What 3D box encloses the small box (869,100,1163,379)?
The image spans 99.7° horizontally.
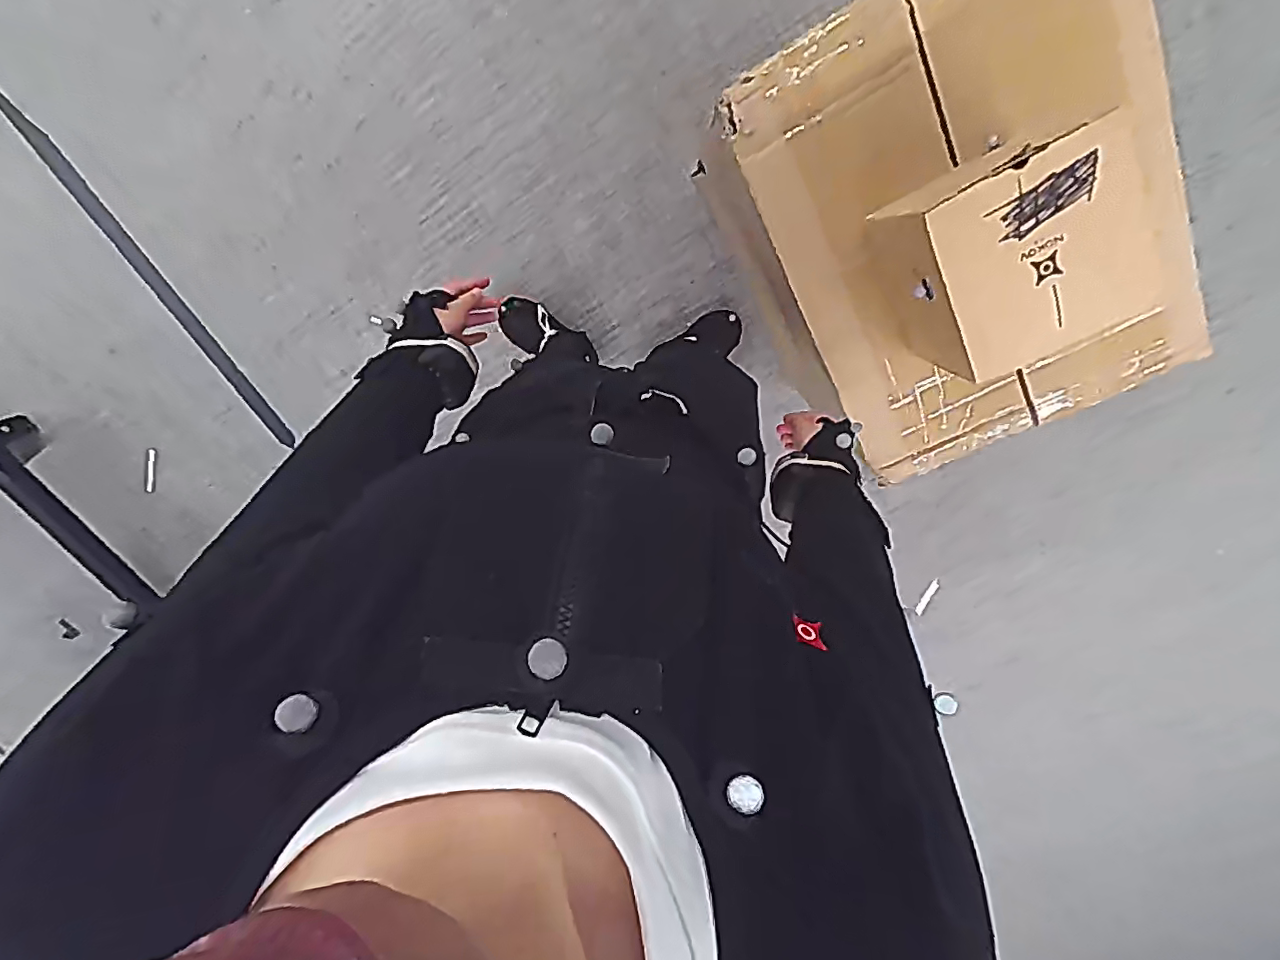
[{"bbox_3d":[0.357,-0.229,0.545,0.168,0.176,0.179,-25,110,14],"label":"small box"}]
